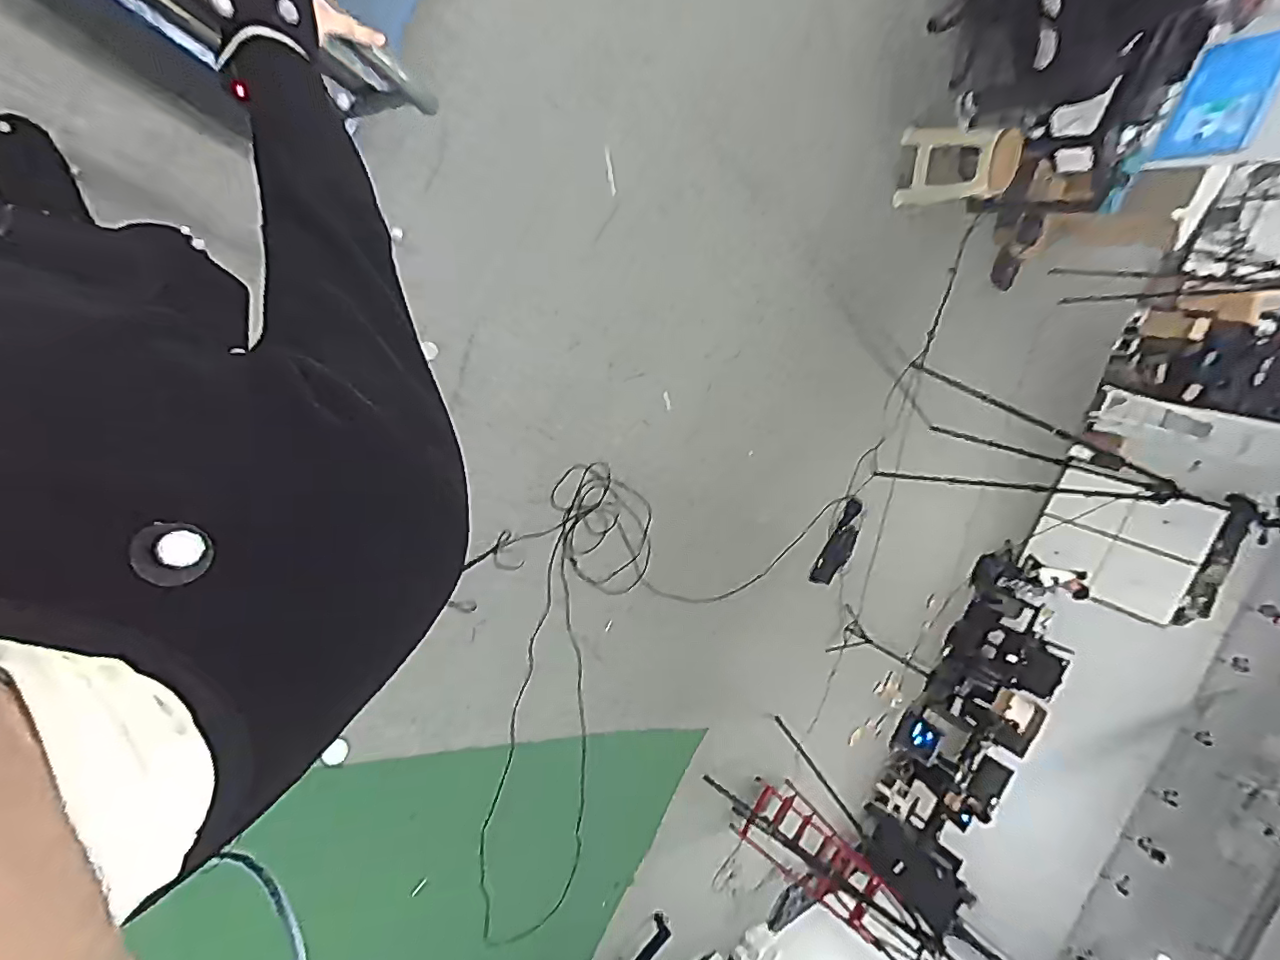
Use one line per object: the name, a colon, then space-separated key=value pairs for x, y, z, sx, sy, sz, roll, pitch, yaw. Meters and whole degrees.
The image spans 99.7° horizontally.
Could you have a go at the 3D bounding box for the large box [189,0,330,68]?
large box: x=-0.625 y=-0.979 z=0.849 sx=0.320 sy=0.320 sz=0.408 roll=27 pitch=89 yaw=-46
